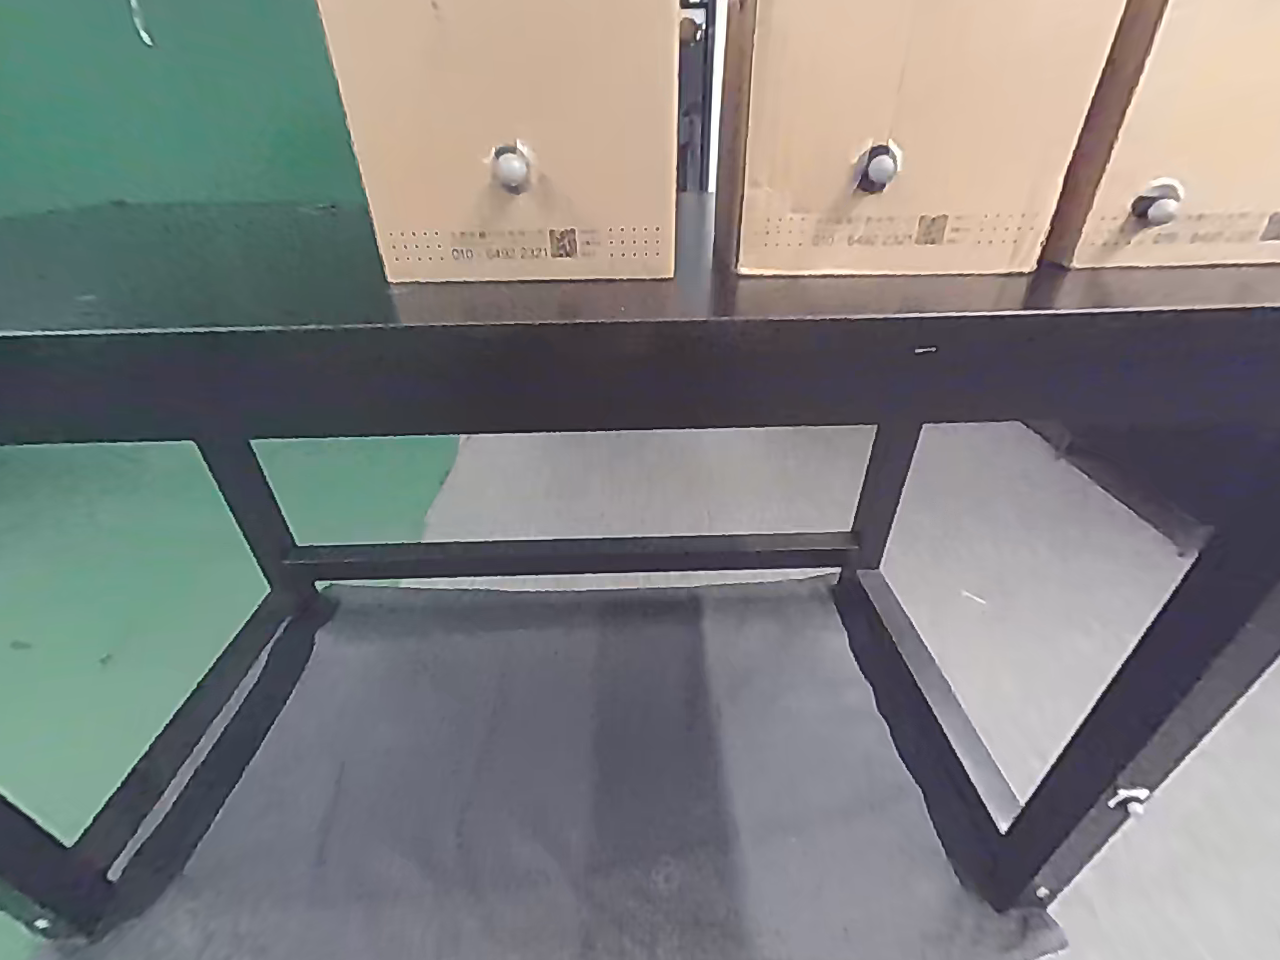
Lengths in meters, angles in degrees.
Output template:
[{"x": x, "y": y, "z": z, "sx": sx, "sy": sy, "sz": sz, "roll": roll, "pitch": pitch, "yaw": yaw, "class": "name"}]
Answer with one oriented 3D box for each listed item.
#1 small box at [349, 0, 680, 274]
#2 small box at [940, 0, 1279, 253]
[{"x": -0.060, "y": -0.236, "z": 0.343, "sx": 0.168, "sy": 0.176, "sz": 0.179, "roll": 0, "pitch": 32, "yaw": 2, "class": "small box"}, {"x": 0.322, "y": -0.241, "z": 0.337, "sx": 0.168, "sy": 0.176, "sz": 0.179, "roll": 0, "pitch": 31, "yaw": 3, "class": "small box"}]
